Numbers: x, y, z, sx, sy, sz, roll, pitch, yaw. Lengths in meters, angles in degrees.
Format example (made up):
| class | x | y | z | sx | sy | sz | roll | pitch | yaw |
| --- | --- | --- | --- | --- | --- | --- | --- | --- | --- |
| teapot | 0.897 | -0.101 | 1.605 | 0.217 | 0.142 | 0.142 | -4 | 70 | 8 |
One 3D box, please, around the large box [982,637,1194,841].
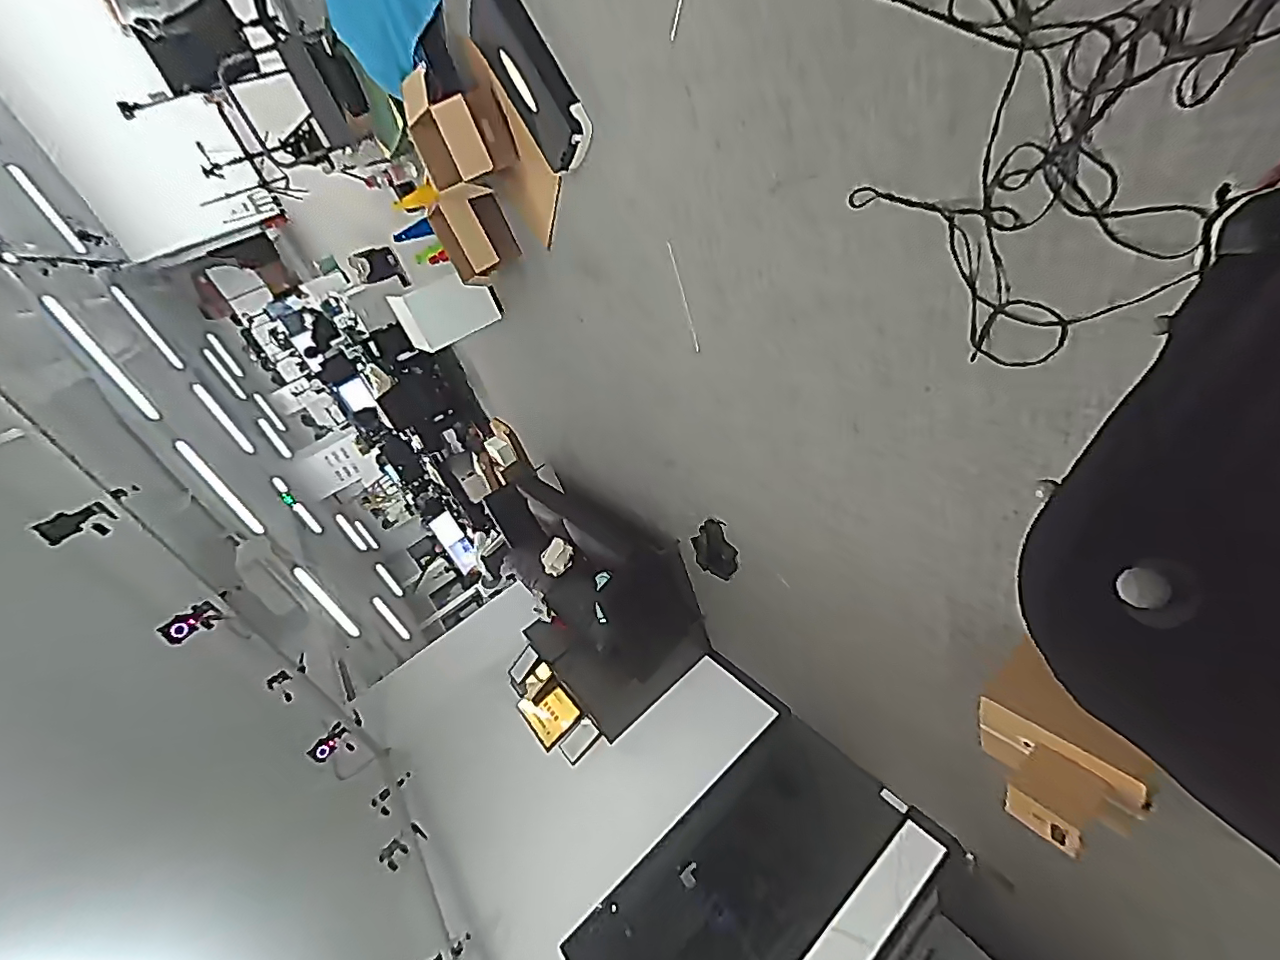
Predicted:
| class | x | y | z | sx | sy | sz | roll | pitch | yaw |
| --- | --- | --- | --- | --- | --- | --- | --- | --- | --- |
| large box | 1.332 | 0.758 | 1.637 | 0.408 | 0.320 | 0.320 | 27 | 144 | 52 |
